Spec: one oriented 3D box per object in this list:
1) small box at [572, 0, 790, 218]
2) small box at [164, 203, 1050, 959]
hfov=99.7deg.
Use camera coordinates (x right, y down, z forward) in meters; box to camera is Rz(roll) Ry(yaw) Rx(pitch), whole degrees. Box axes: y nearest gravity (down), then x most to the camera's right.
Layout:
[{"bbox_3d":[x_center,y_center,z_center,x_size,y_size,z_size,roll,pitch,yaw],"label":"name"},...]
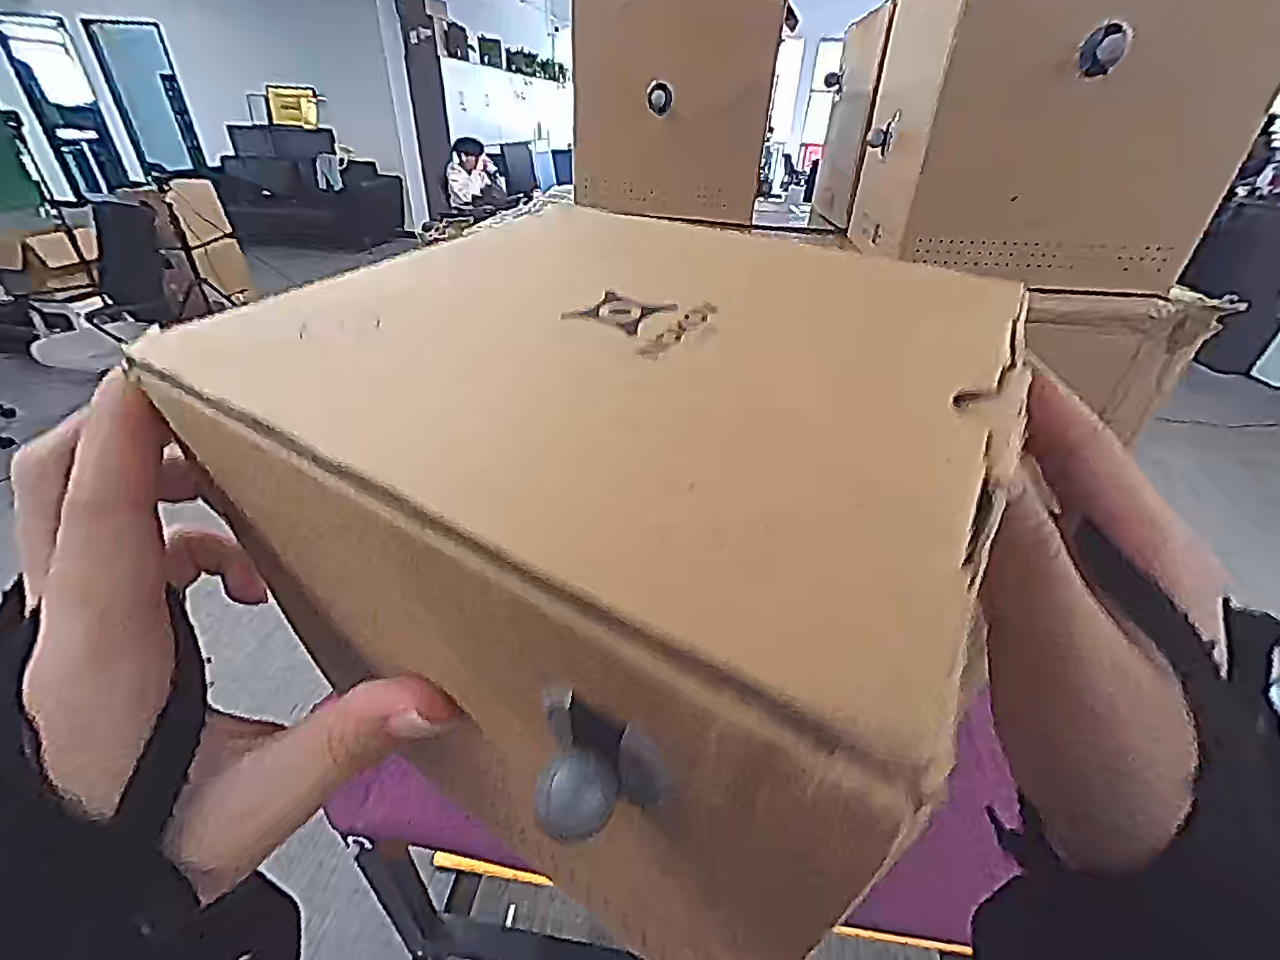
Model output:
[{"bbox_3d":[0.042,-0.359,0.532,0.179,0.176,0.168,7,33,8],"label":"small box"},{"bbox_3d":[0.004,0.018,0.190,0.179,0.176,0.168,22,43,23],"label":"small box"}]
